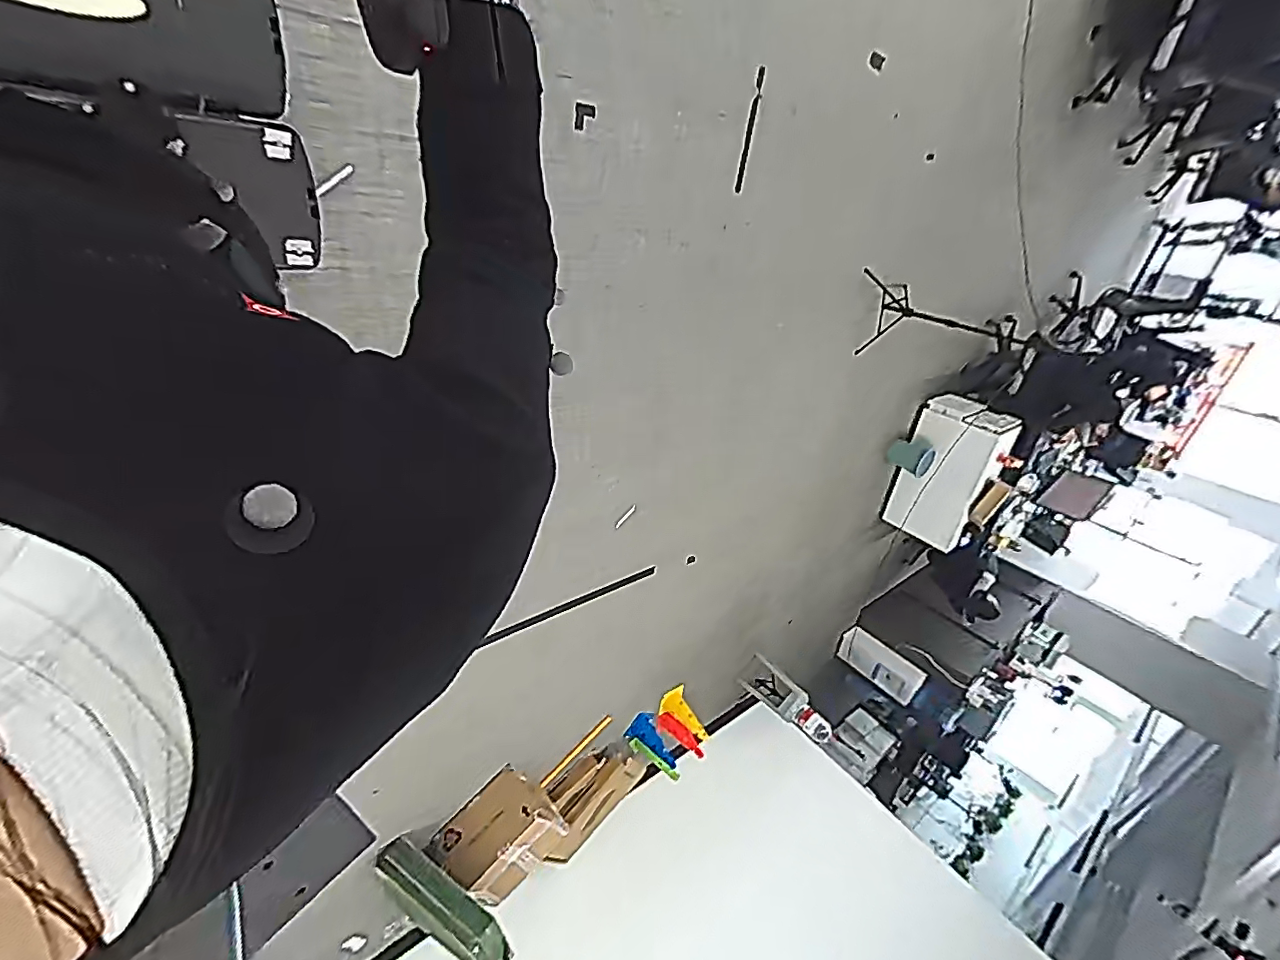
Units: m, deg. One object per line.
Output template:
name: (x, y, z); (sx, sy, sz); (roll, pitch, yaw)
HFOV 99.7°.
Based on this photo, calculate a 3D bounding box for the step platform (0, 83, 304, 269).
step platform: (-1.029, -0.554, 1.008); (0.684, 0.204, 0.286); (-15, 126, -34)
